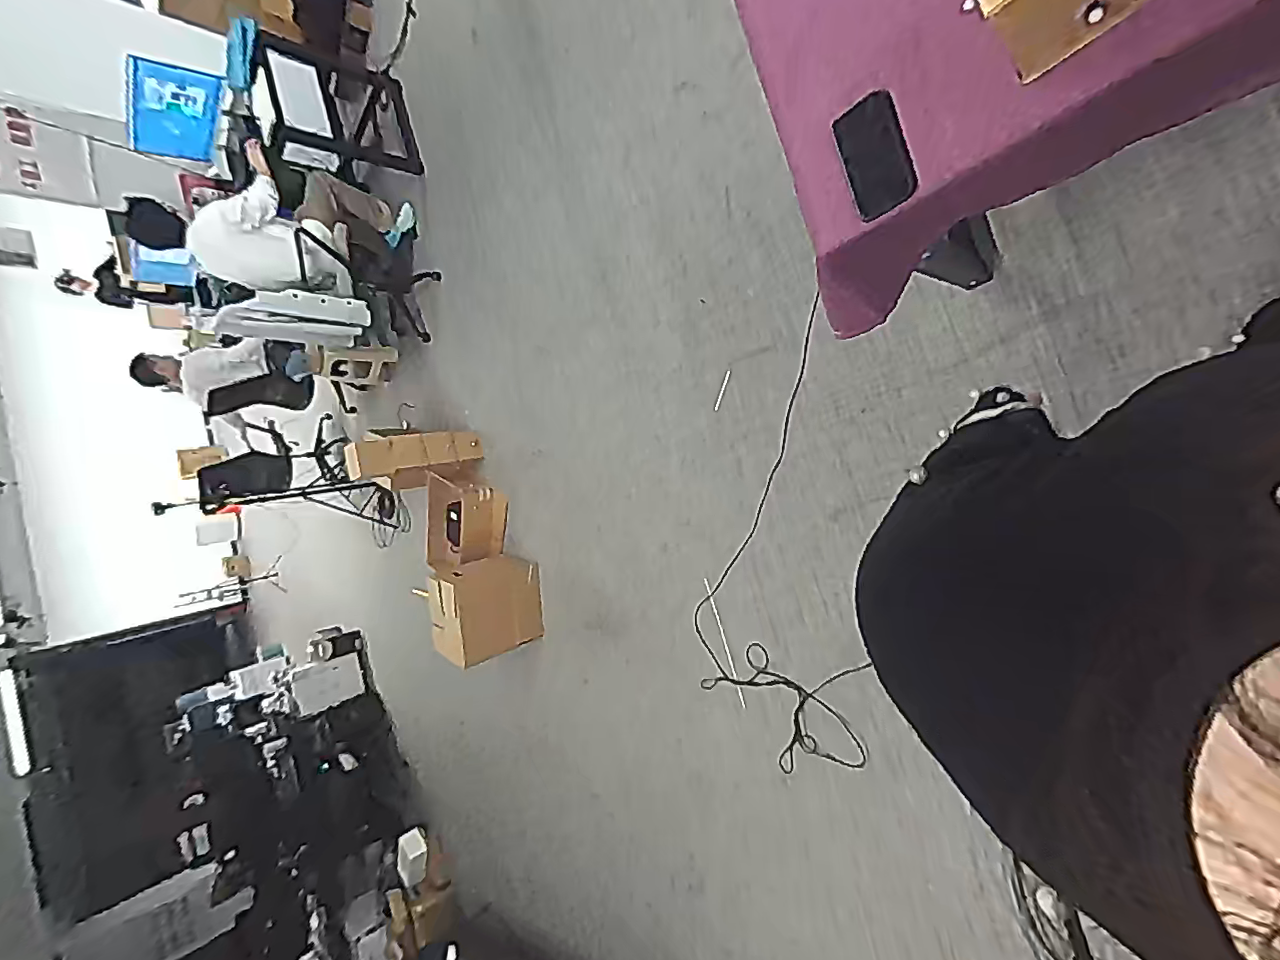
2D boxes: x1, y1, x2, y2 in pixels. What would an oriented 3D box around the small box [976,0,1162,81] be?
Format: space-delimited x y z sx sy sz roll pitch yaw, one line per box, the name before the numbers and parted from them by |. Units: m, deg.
small box | 0.413 -0.540 0.517 0.168 0.176 0.179 -21 83 45
